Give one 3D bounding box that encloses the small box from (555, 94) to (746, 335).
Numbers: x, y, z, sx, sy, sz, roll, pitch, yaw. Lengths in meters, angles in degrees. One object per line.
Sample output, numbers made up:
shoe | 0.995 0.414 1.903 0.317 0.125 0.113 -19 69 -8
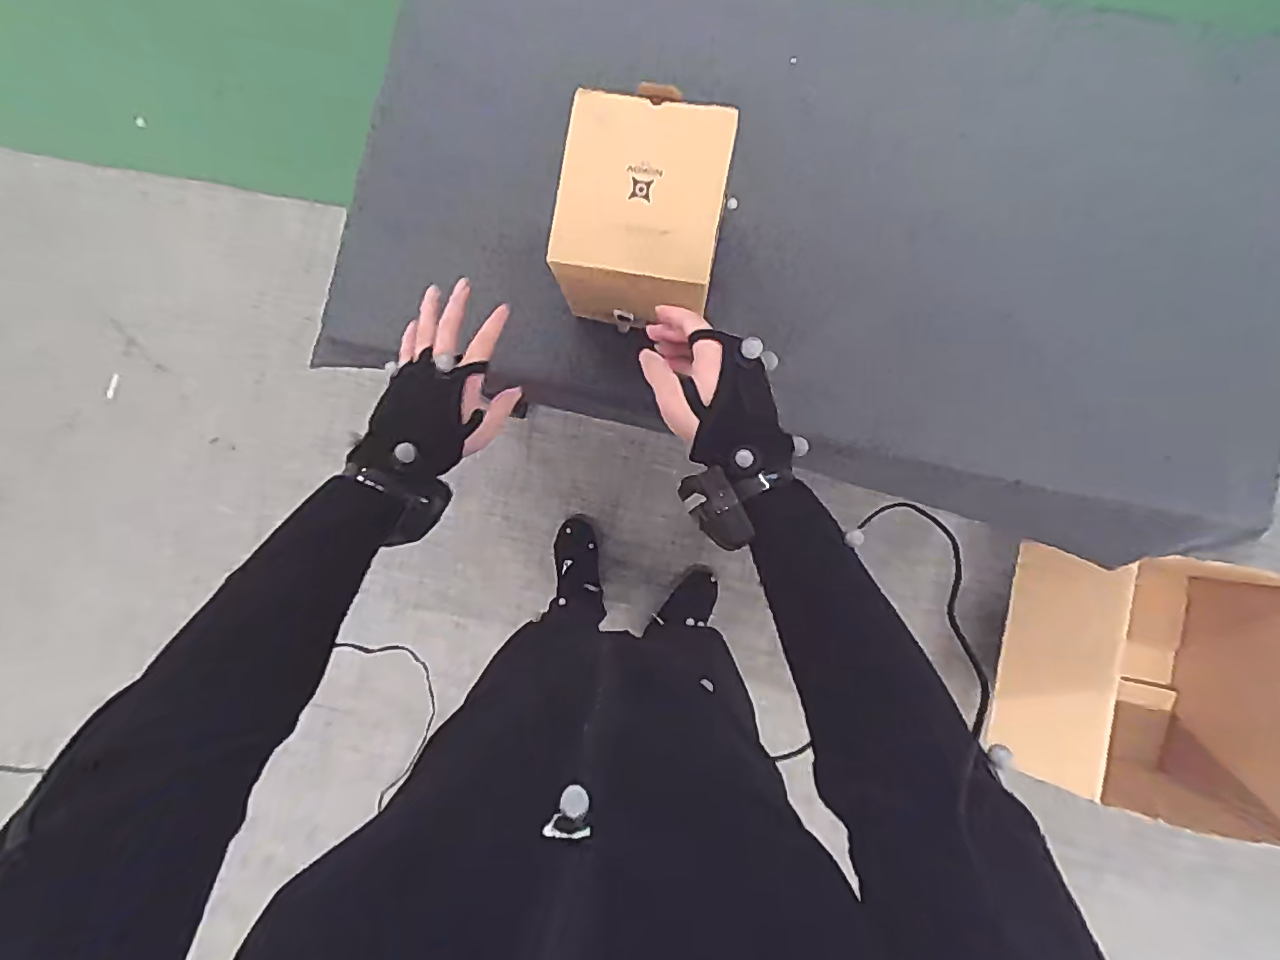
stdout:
small box | 0.014 -0.284 0.613 0.168 0.176 0.179 10 88 4
